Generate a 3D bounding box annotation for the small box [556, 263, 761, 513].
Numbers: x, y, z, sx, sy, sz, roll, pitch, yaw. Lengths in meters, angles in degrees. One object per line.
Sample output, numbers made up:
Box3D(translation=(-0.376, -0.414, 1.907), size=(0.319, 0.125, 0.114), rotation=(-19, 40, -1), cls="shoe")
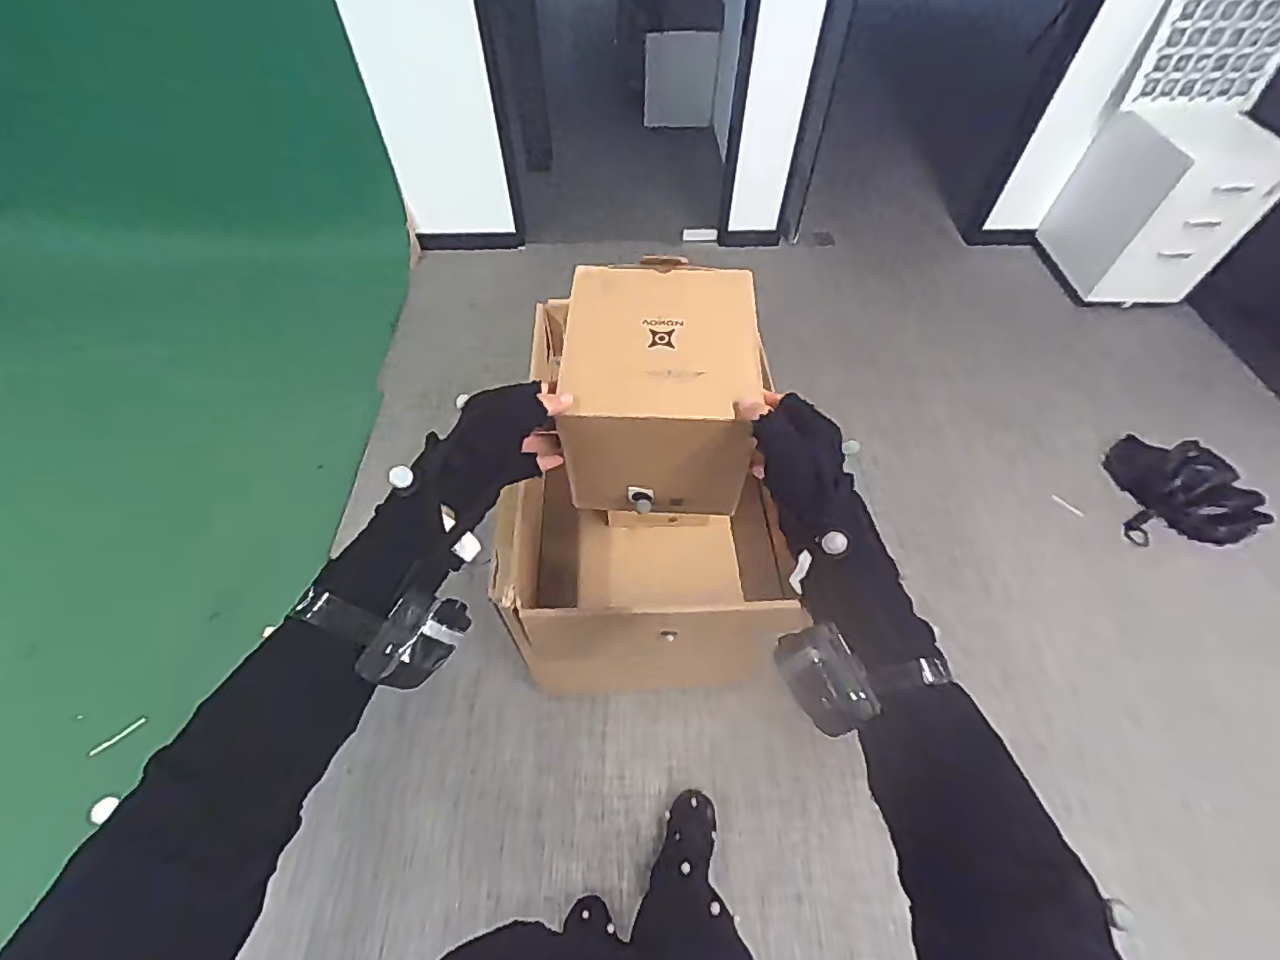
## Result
Box3D(translation=(0.017, -0.086, 0.536), size=(0.168, 0.176, 0.179), rotation=(2, 60, 1), cls="small box")
